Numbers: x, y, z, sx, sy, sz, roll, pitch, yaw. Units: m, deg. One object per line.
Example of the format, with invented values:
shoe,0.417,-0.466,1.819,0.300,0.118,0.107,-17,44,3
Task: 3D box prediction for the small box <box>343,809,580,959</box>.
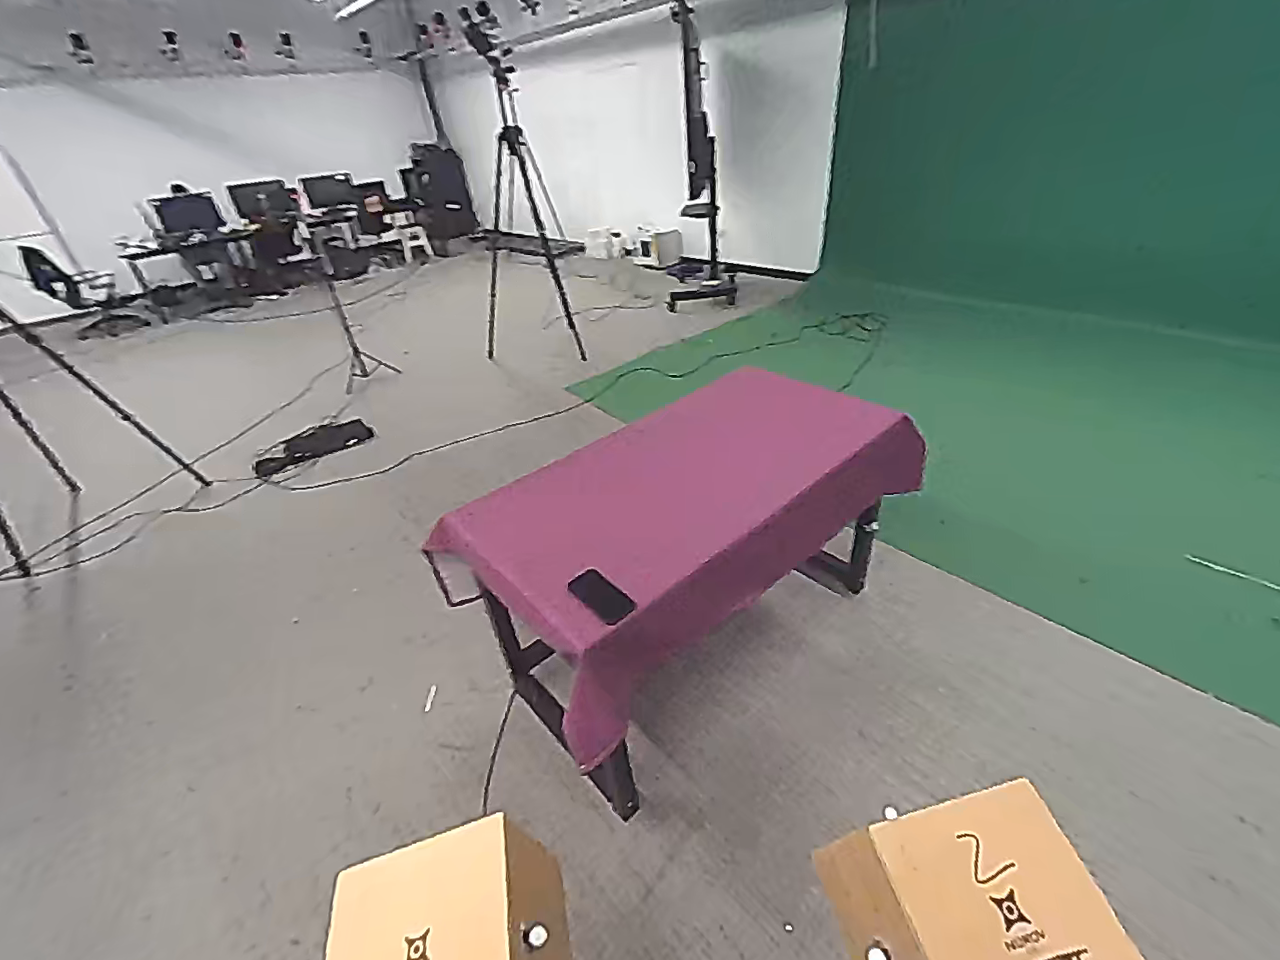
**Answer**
small box,-0.159,0.455,0.514,0.168,0.176,0.179,-19,42,-1
